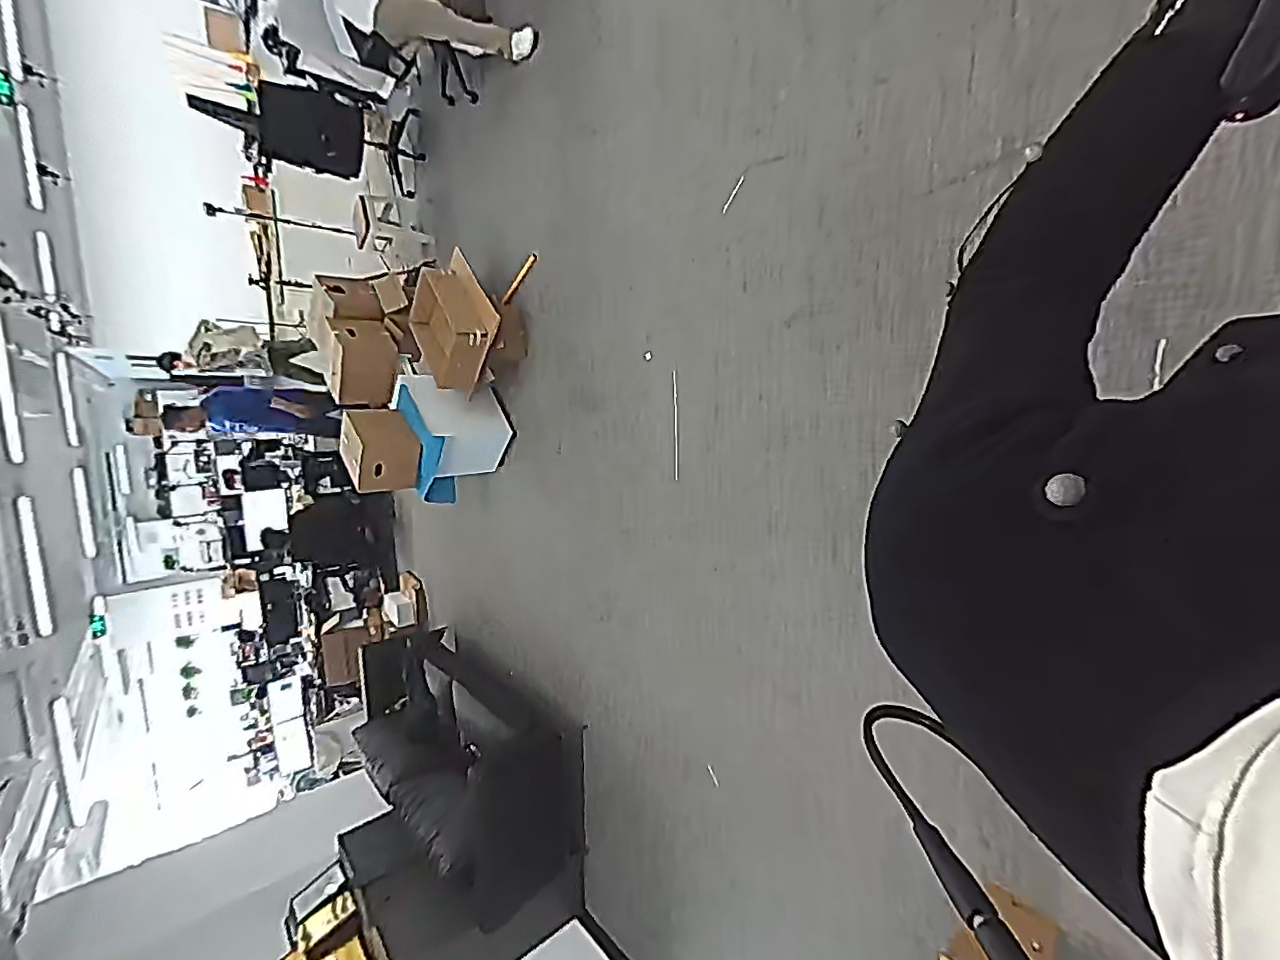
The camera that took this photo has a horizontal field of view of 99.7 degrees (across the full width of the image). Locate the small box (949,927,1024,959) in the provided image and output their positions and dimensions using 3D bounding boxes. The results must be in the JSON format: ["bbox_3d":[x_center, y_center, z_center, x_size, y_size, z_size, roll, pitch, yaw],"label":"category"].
[{"bbox_3d":[0.874,1.280,1.345,0.179,0.176,0.168,10,102,49],"label":"small box"}]
